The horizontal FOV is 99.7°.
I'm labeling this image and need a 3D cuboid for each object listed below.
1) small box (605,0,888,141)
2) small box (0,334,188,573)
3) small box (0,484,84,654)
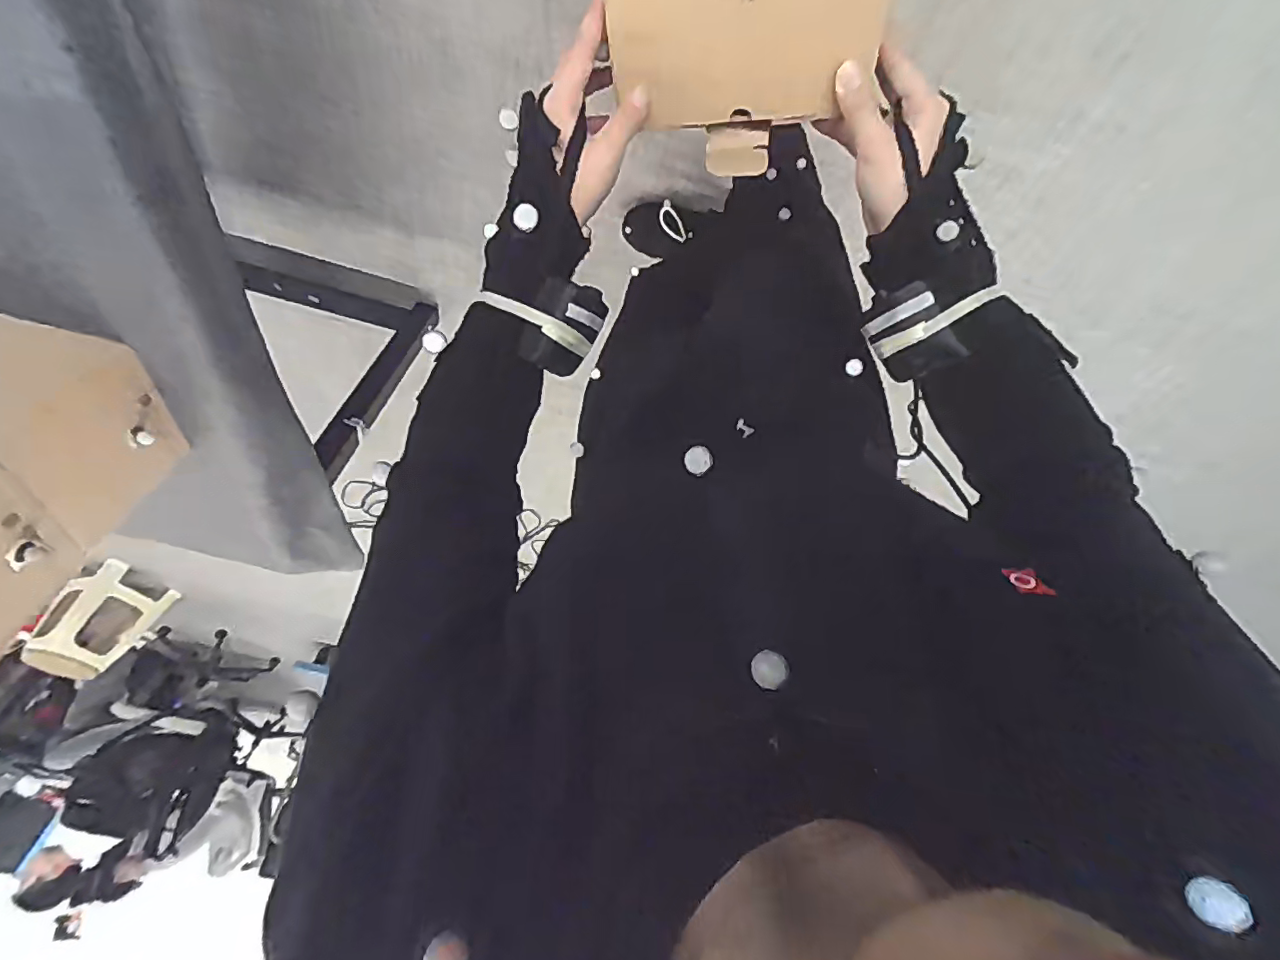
[{"bbox_3d":[0.062,-0.351,0.345,0.168,0.176,0.179,0,144,6],"label":"small box"},{"bbox_3d":[-0.641,-0.032,0.564,0.179,0.176,0.168,13,137,-6],"label":"small box"},{"bbox_3d":[-0.658,0.087,0.455,0.179,0.176,0.168,12,138,-5],"label":"small box"}]
